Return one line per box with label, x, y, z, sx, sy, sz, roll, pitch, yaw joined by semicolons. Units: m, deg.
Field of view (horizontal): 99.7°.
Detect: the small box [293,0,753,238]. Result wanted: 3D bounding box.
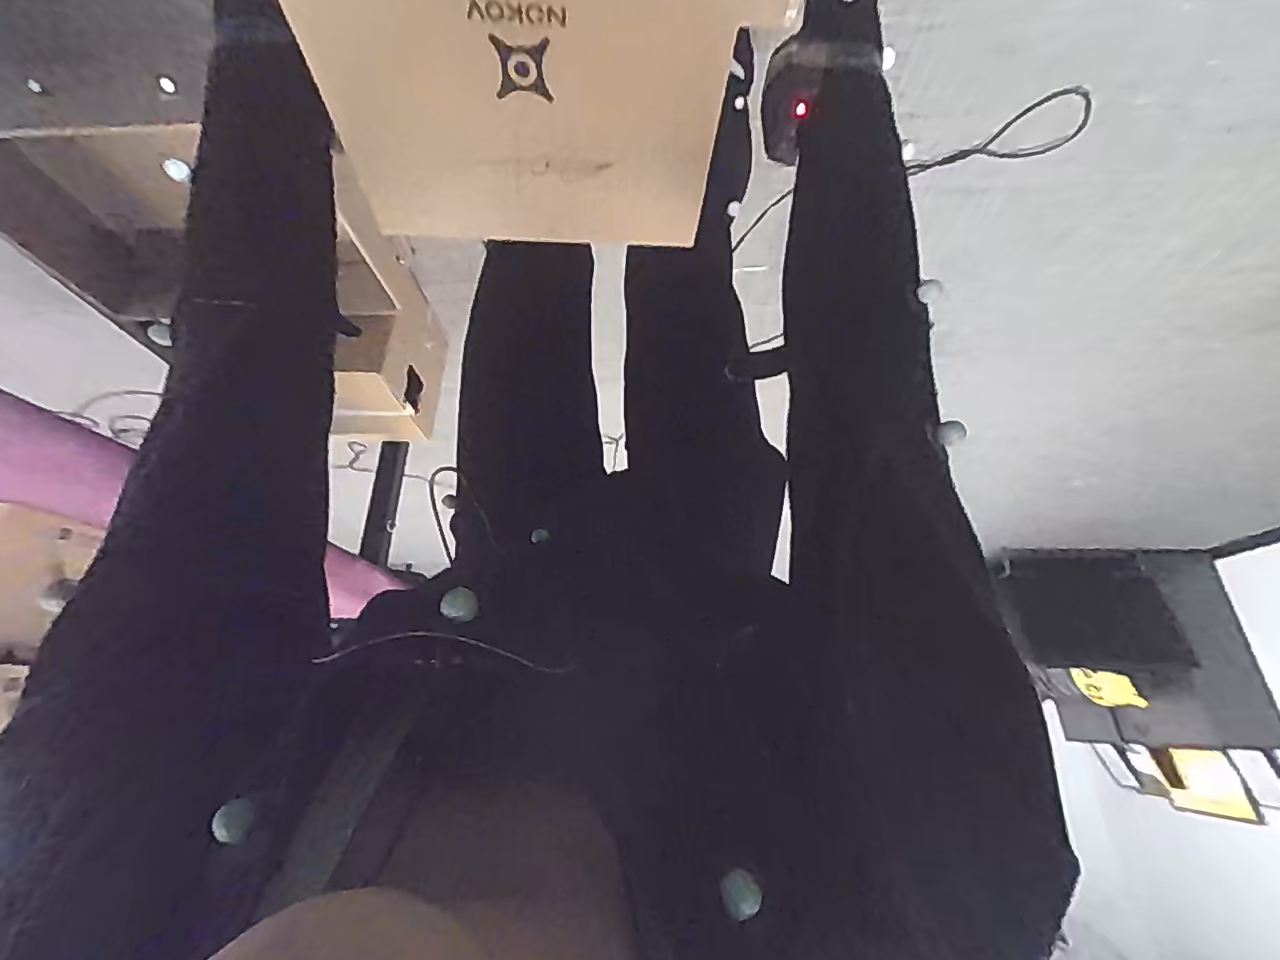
small box;-0.045;-0.239;0.237;0.168;0.176;0.179;0;157;-5
